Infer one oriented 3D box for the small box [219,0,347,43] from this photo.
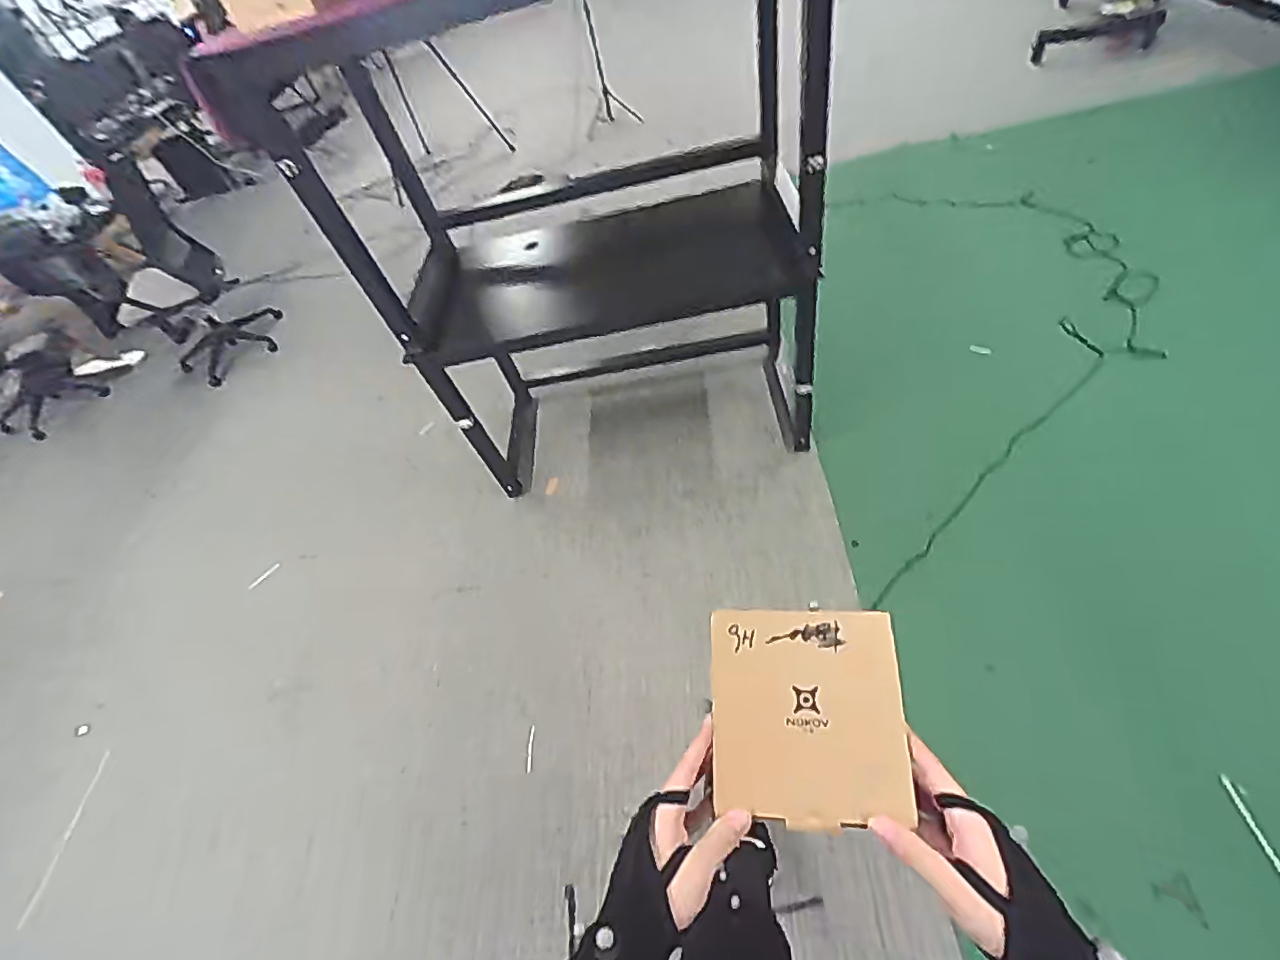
[{"bbox_3d":[-0.689,-0.950,1.009,0.168,0.176,0.179,-6,50,11],"label":"small box"}]
